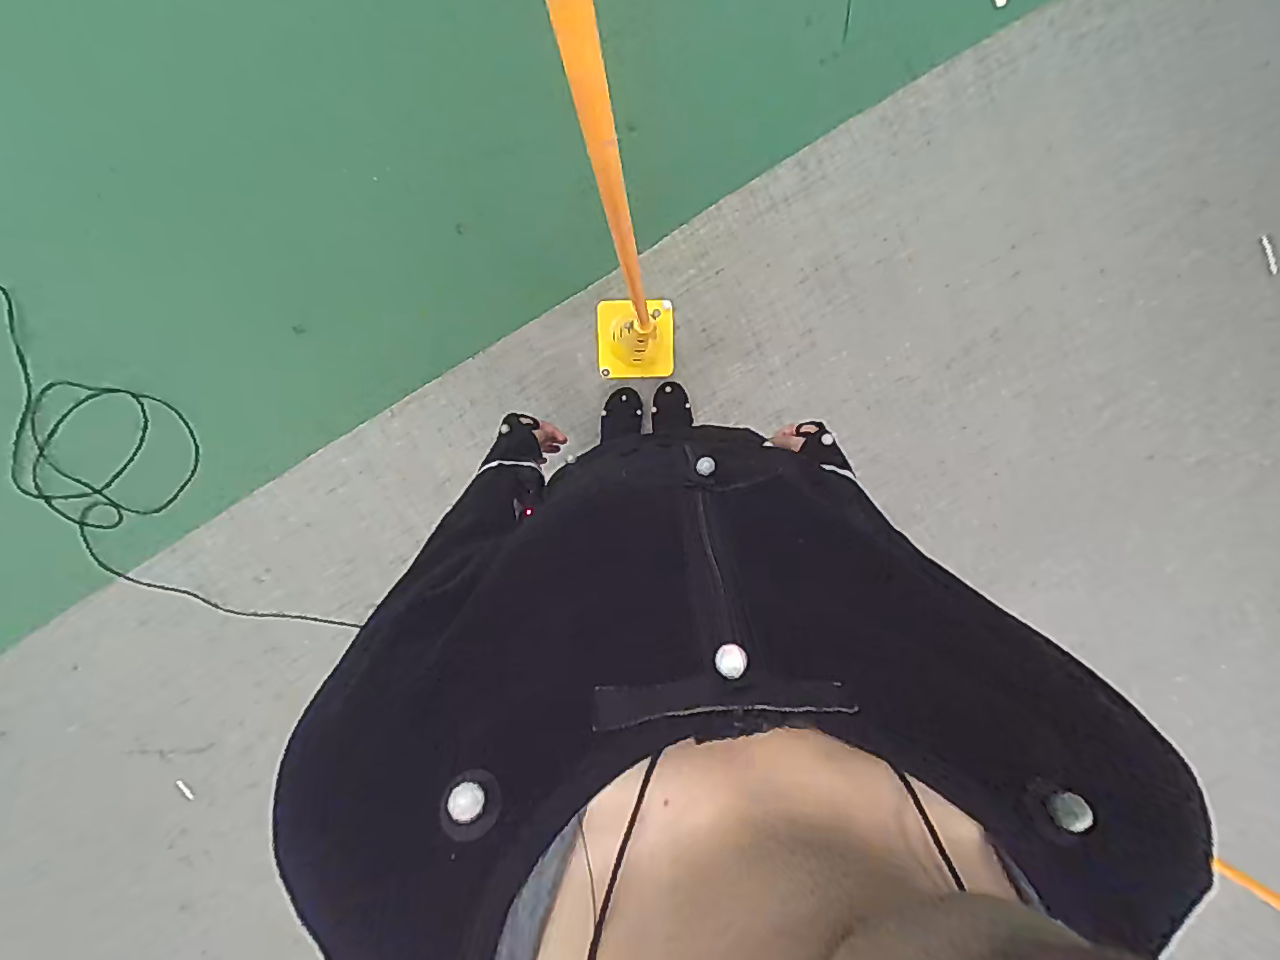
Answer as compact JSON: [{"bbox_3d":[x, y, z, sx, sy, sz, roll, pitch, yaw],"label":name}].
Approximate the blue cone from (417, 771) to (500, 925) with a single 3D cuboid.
[{"bbox_3d":[-0.511,0.994,1.452,0.192,0.380,0.193,13,101,-7],"label":"blue cone"}]
